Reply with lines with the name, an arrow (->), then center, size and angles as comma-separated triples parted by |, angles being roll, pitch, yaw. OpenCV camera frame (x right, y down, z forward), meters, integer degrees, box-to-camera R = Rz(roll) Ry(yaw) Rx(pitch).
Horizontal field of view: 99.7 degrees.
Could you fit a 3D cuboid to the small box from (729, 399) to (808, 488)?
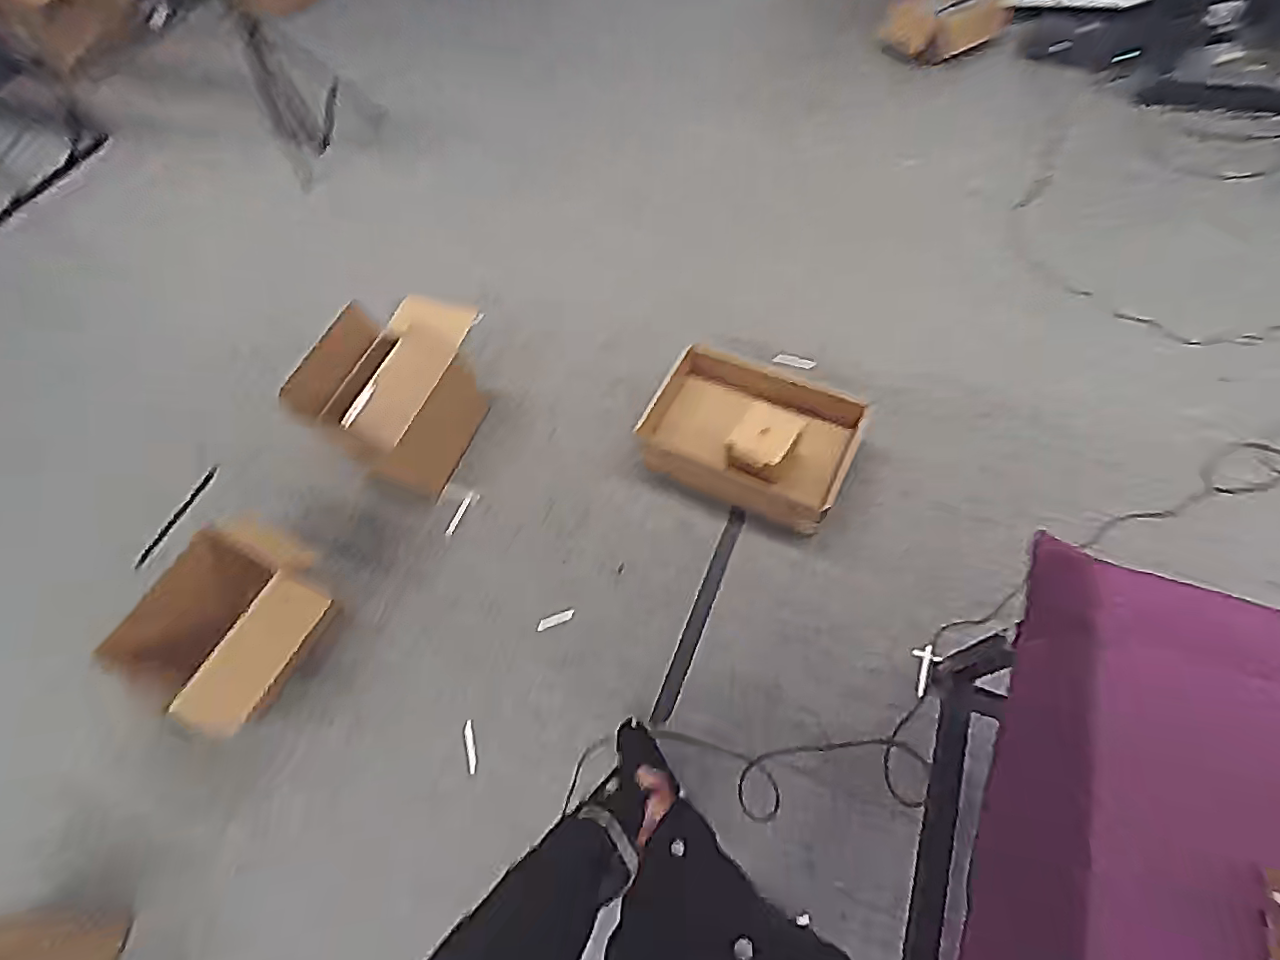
small box -> 0.386, -0.105, 1.638 | 0.168, 0.176, 0.179 | 31, 70, 21
